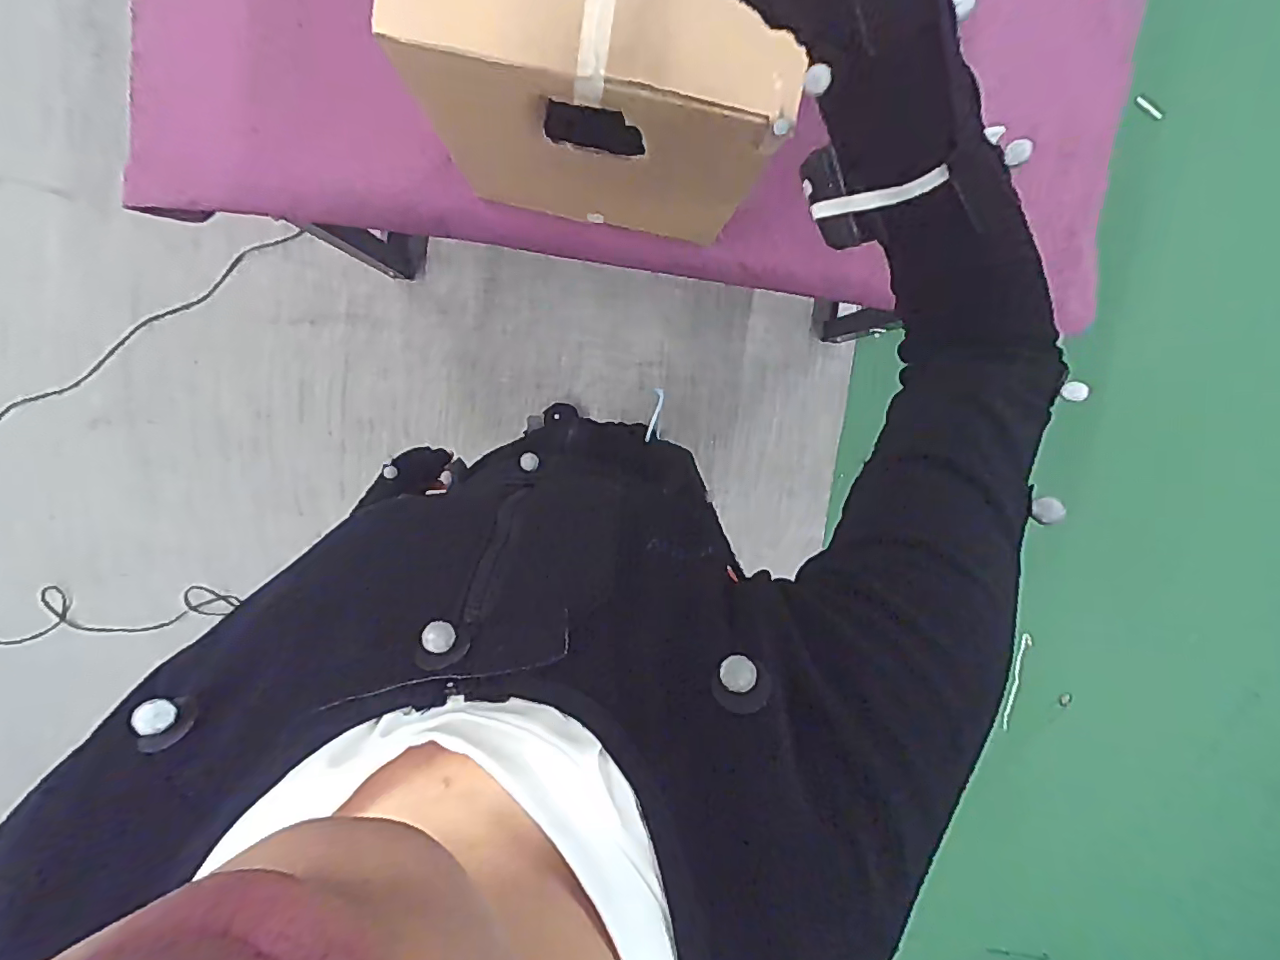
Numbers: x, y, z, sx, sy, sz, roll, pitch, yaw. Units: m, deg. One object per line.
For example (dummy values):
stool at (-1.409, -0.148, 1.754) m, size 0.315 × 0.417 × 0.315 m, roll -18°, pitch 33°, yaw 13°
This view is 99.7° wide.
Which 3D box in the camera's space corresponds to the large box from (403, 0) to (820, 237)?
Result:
large box at (-0.007, -0.515, 0.532) m, size 0.320 × 0.320 × 0.408 m, roll 9°, pitch 98°, yaw -5°
